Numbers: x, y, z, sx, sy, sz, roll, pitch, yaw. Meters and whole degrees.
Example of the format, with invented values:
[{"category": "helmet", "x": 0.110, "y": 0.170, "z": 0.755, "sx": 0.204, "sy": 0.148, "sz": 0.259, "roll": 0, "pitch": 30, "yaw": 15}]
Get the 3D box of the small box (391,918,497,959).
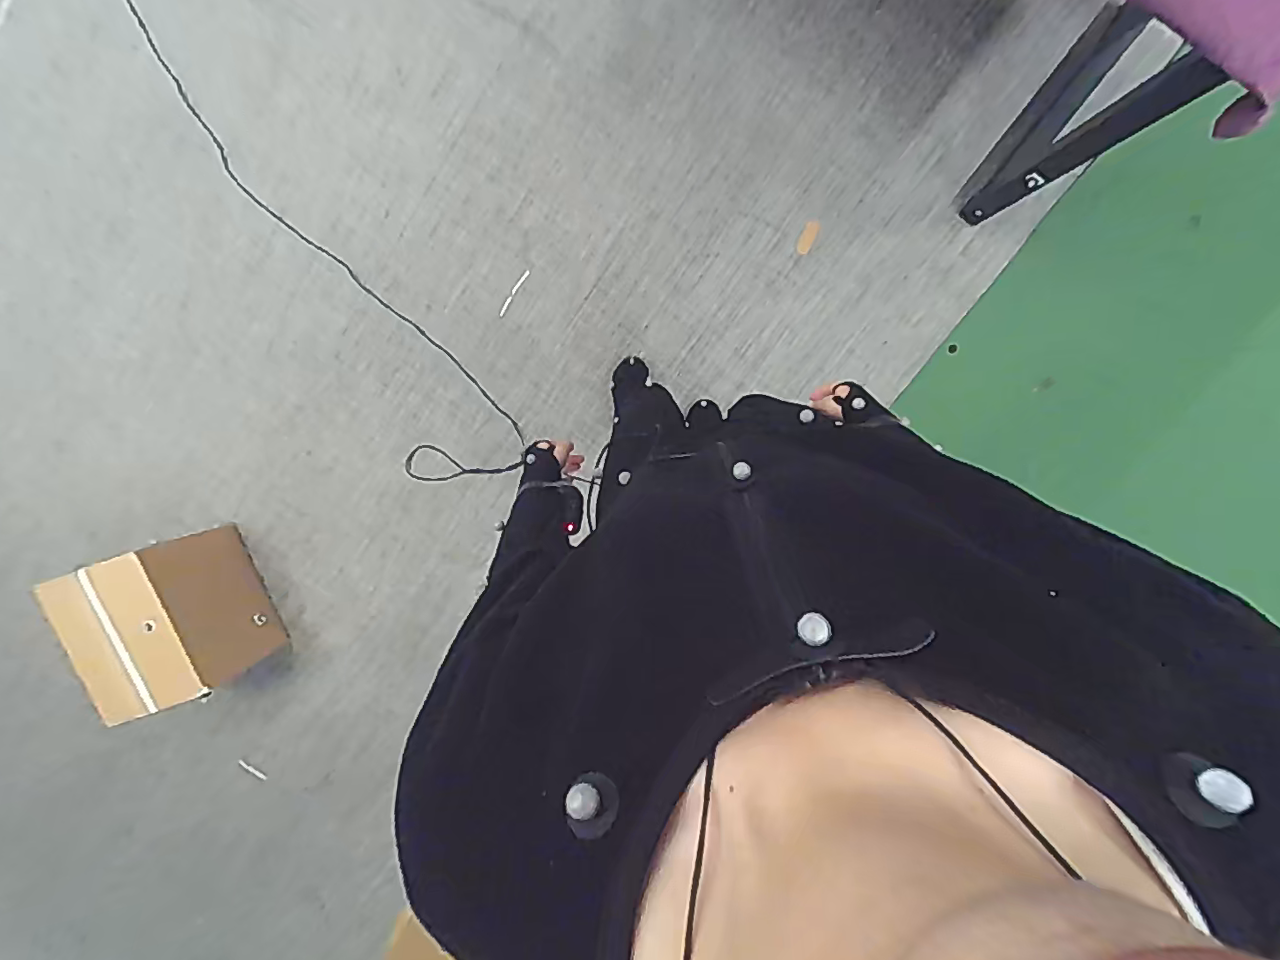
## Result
[{"category": "small box", "x": -0.380, "y": 0.927, "z": 0.947, "sx": 0.179, "sy": 0.176, "sz": 0.168, "roll": 23, "pitch": 100, "yaw": 2}]
